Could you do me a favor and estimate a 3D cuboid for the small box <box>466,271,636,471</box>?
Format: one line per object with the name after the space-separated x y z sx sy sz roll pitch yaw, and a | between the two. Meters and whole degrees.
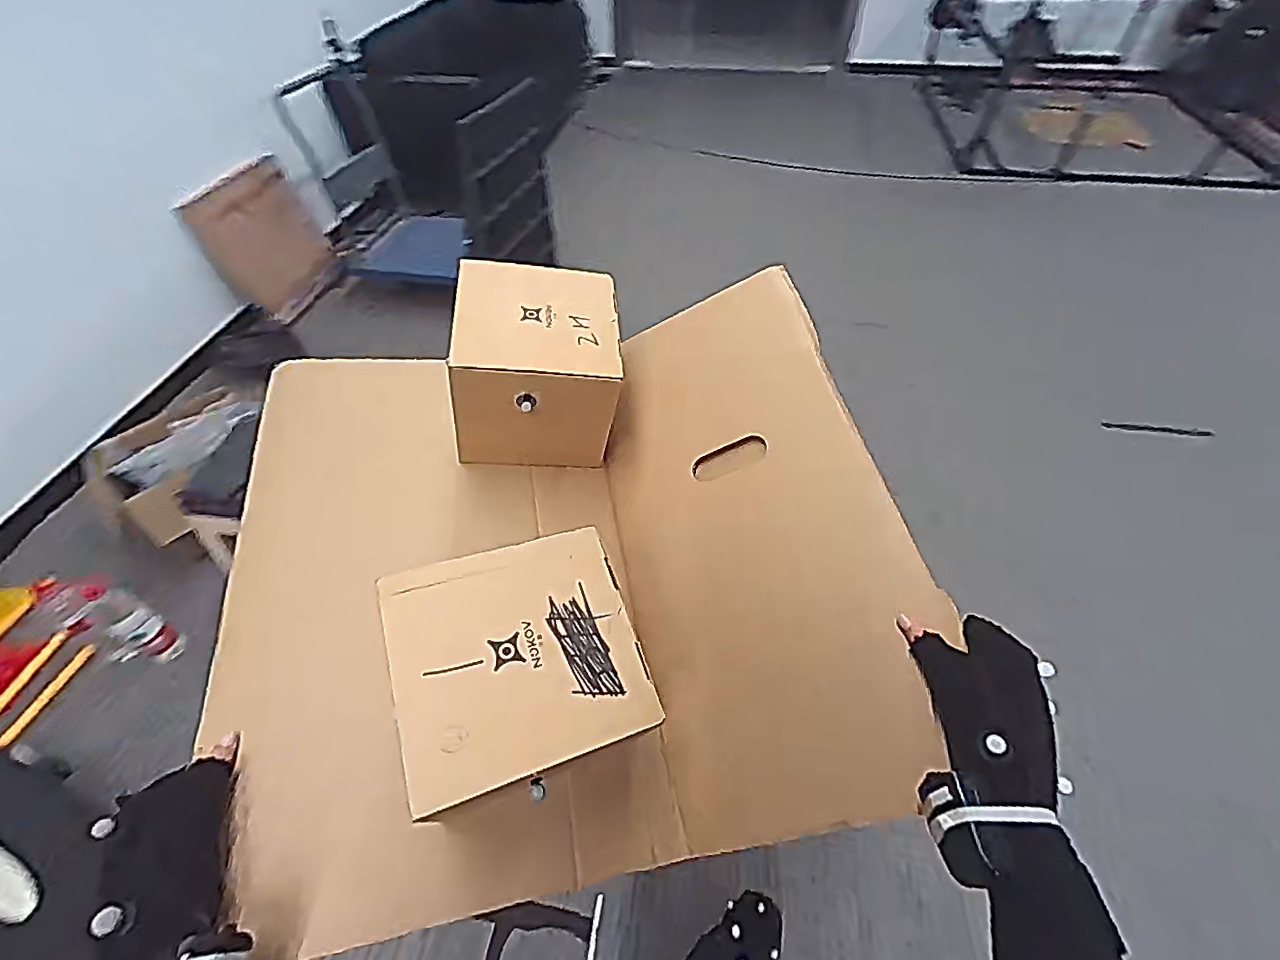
-0.108 -0.124 0.659 0.179 0.176 0.168 3 58 -12 | small box

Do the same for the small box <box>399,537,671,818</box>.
-0.096 0.172 0.473 0.179 0.176 0.168 -11 62 -19 | small box
